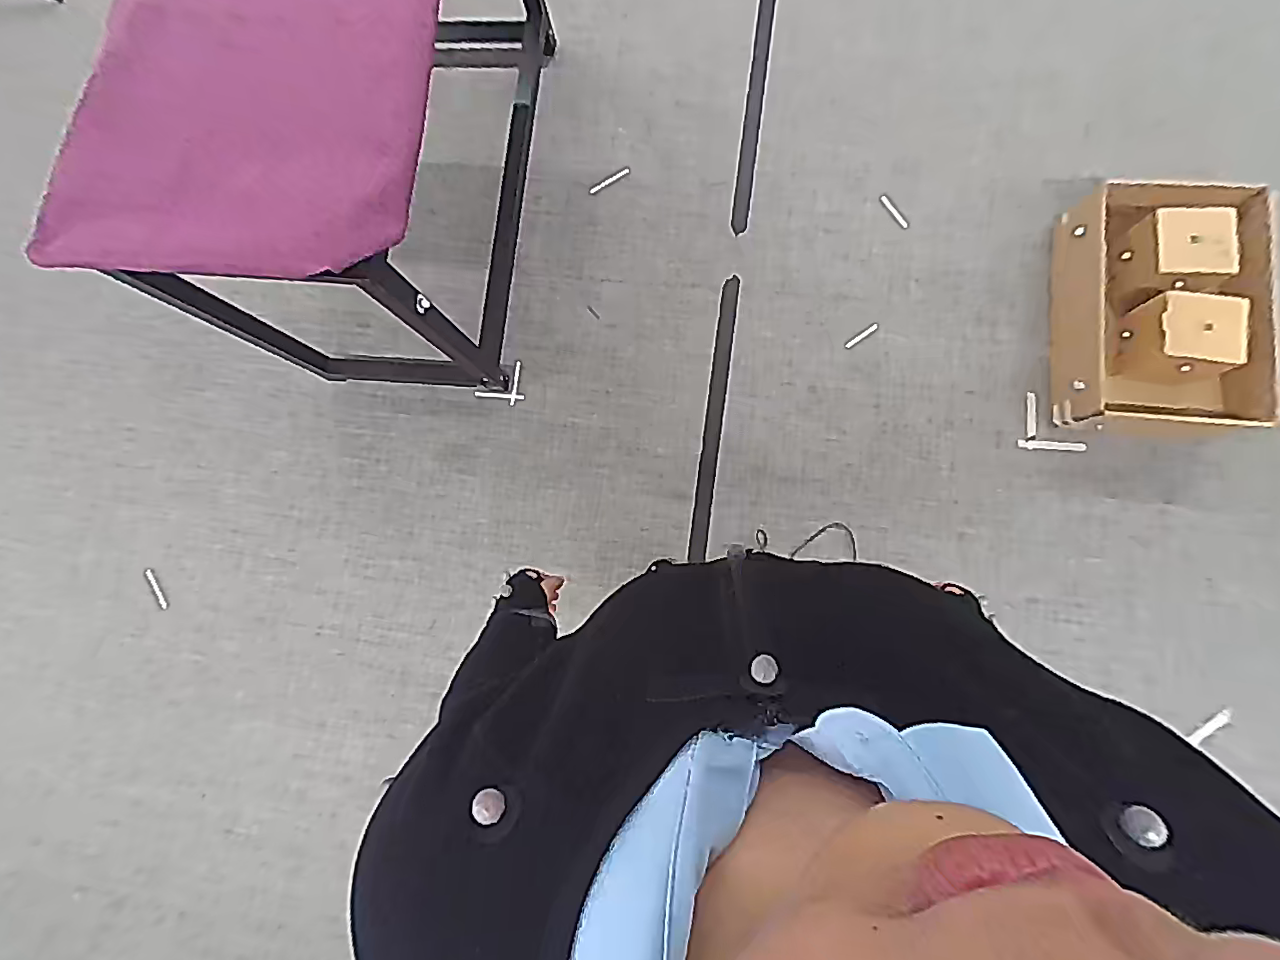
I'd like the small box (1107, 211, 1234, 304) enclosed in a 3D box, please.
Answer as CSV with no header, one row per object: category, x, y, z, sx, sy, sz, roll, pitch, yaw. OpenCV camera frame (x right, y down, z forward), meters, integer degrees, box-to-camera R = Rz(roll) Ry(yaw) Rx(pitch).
small box,1.345,-0.563,1.385,0.179,0.176,0.168,4,85,5

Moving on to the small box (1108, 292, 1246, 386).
small box,1.342,-0.347,1.360,0.179,0.176,0.168,11,83,7
